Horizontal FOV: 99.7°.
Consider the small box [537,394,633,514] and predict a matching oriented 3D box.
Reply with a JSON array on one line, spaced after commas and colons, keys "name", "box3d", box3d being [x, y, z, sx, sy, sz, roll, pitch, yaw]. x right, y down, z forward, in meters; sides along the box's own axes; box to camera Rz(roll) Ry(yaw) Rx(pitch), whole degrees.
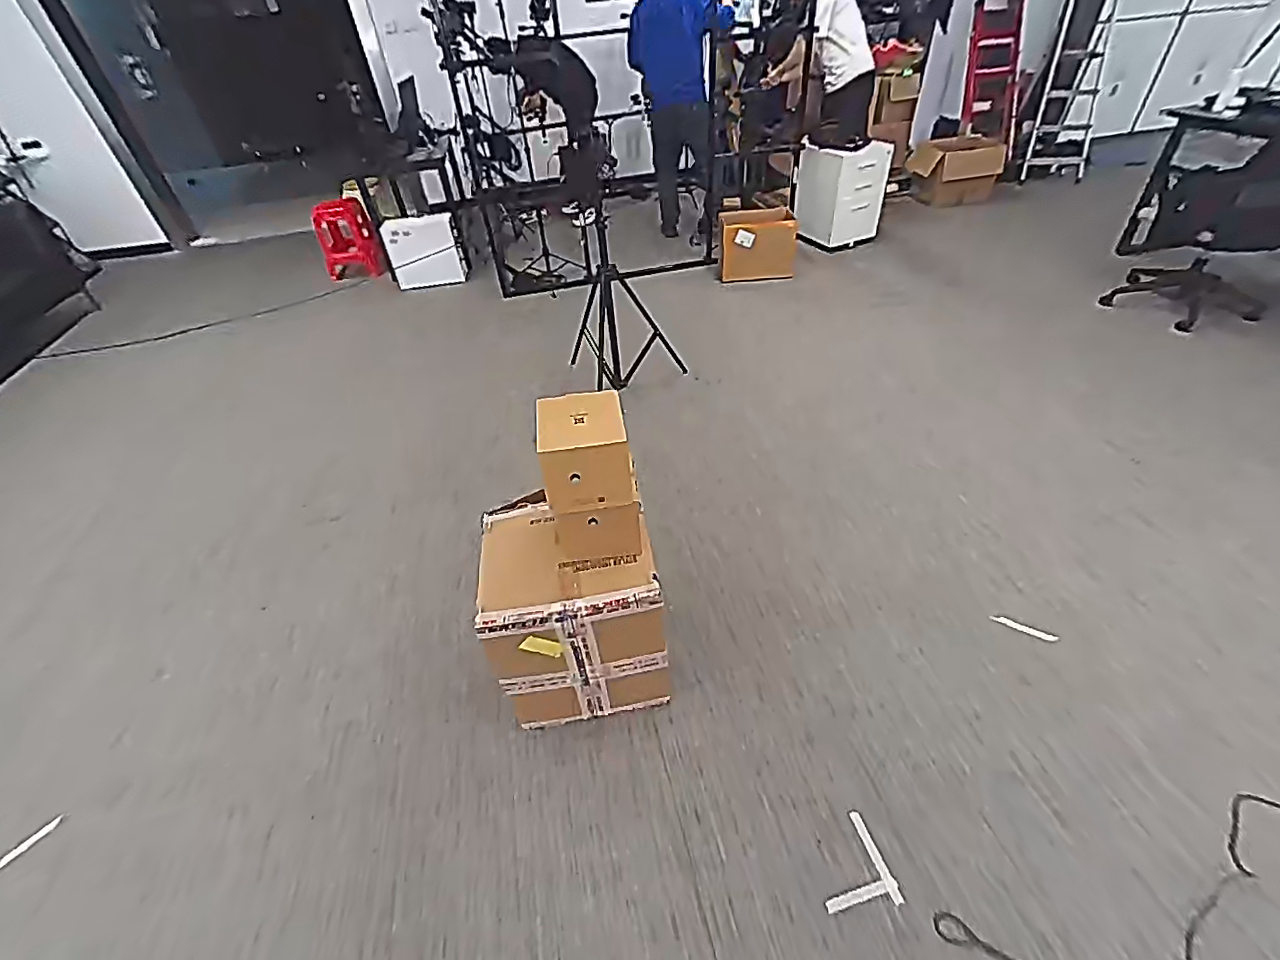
[{"name": "small box", "box3d": [-0.110, -0.046, 1.084, 0.168, 0.176, 0.179, -9, 42, -4]}]

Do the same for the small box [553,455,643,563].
[{"name": "small box", "box3d": [-0.091, 0.068, 1.199, 0.179, 0.176, 0.168, -6, 43, -3]}]
